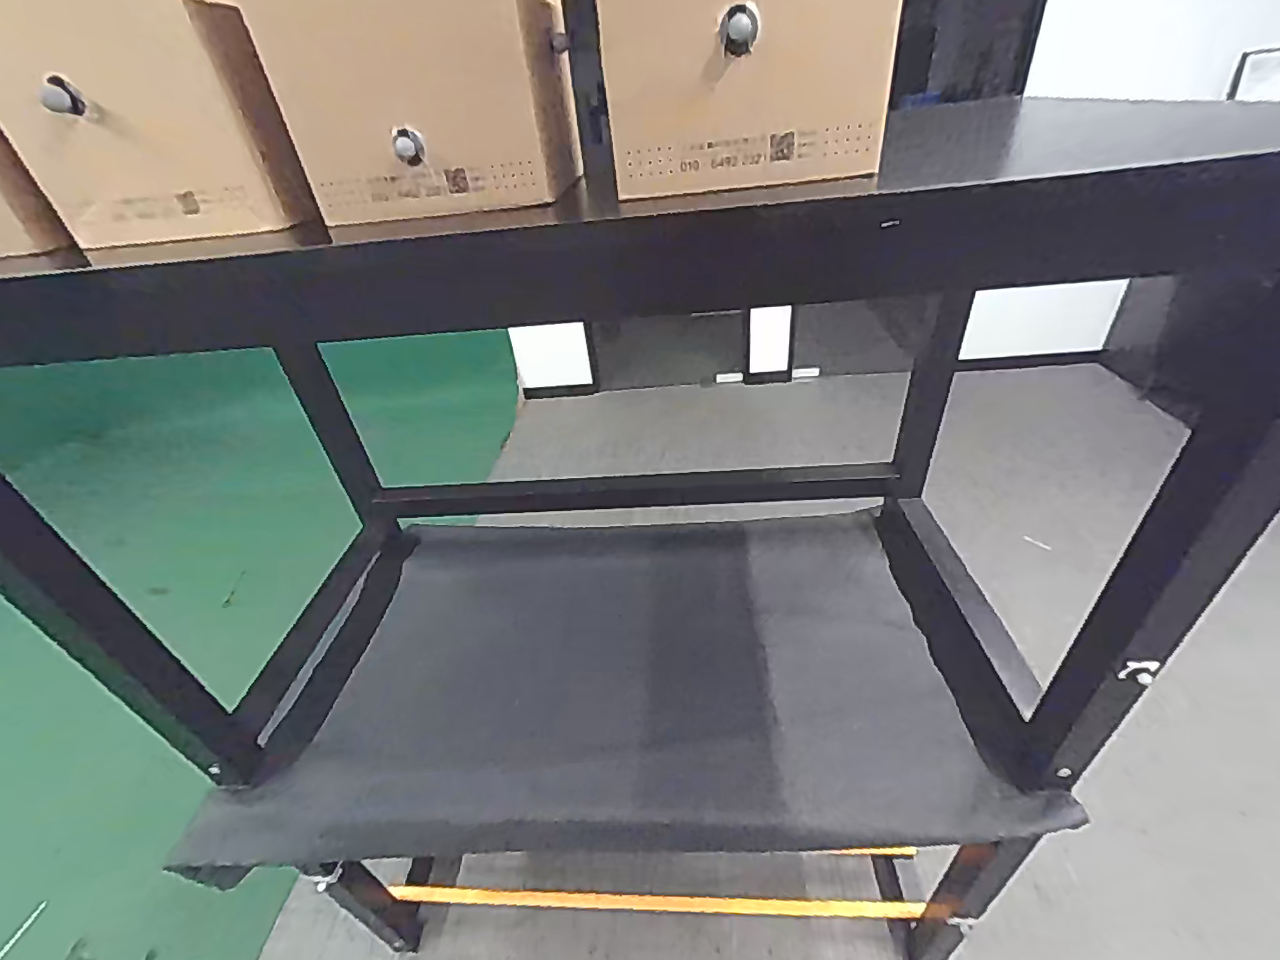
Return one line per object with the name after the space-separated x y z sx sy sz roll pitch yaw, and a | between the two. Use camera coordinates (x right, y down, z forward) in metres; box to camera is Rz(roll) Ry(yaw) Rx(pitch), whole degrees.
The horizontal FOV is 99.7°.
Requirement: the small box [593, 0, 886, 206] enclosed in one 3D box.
0.062 -0.295 0.373 0.168 0.176 0.179 -3 35 5 | small box

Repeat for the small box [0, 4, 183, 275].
-0.540 -0.275 0.448 0.168 0.176 0.179 -4 36 5 | small box
